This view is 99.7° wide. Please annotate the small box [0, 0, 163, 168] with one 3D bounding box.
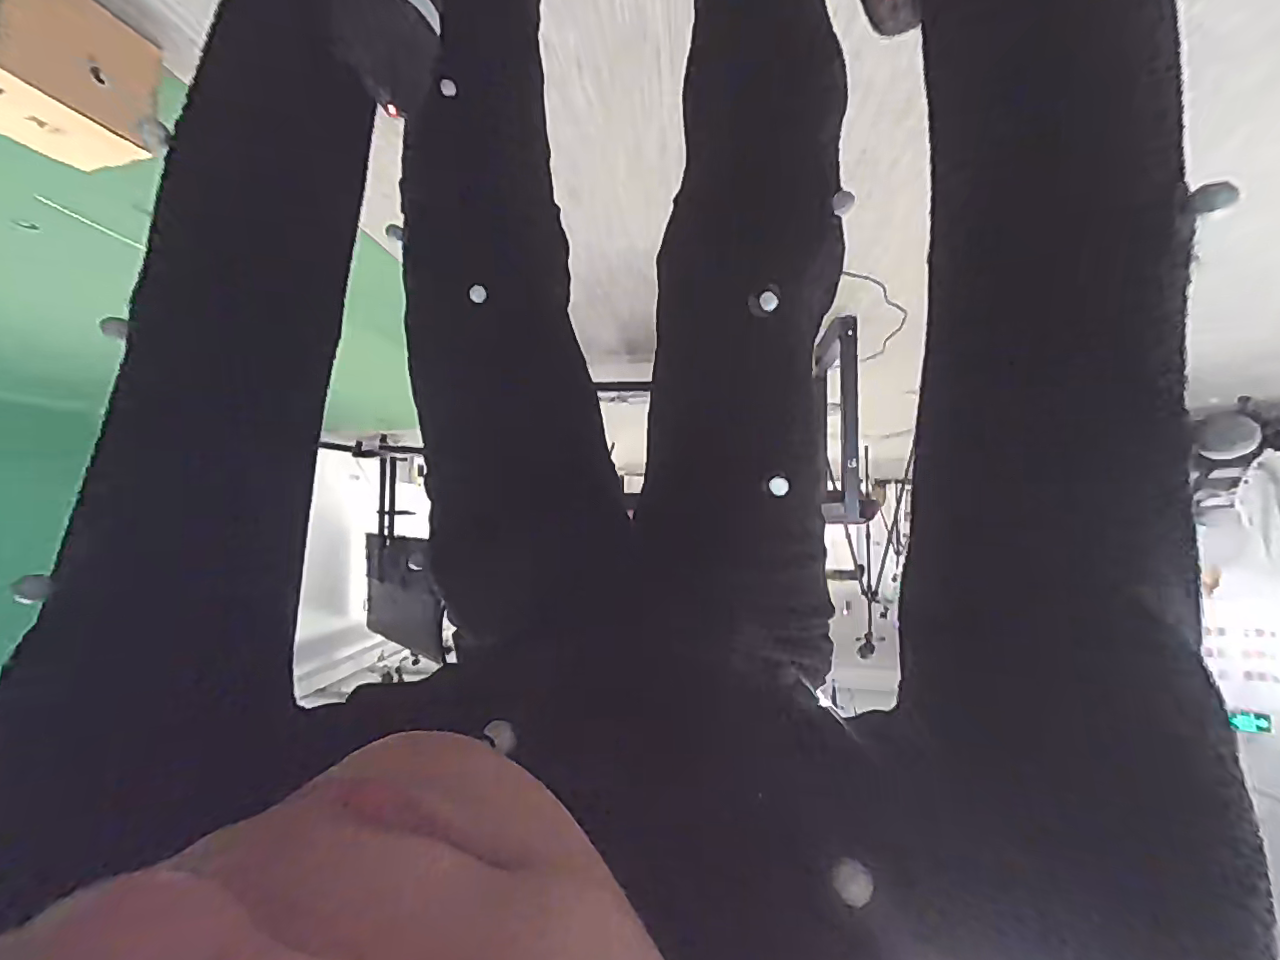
[{"bbox_3d":[-0.823,-0.582,0.762,0.168,0.176,0.179,0,177,17],"label":"small box"}]
